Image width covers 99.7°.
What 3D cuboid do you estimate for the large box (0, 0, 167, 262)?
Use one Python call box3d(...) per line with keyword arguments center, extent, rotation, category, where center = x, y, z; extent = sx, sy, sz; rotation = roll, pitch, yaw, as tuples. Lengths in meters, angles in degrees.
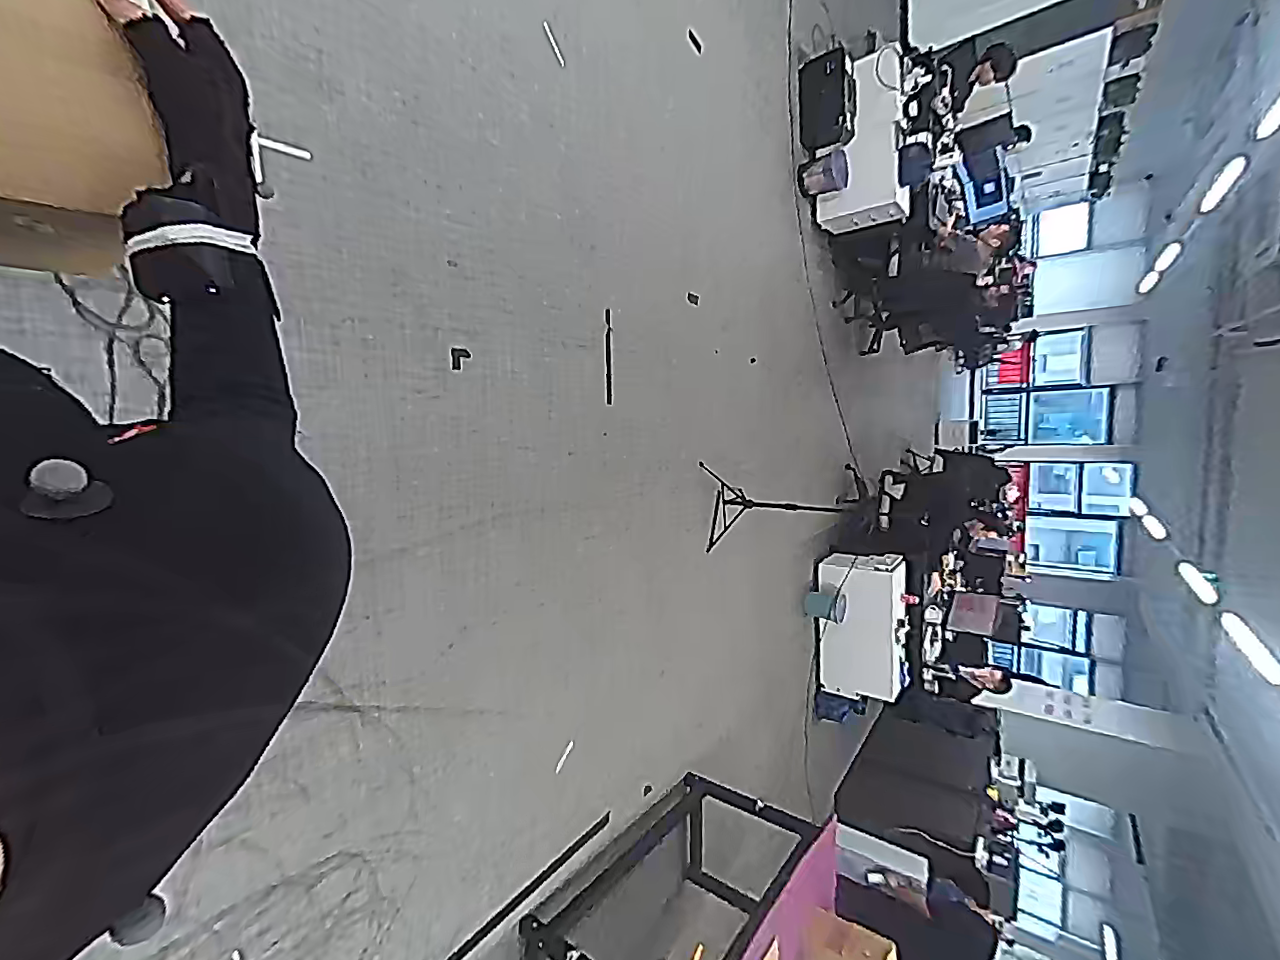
box3d(center=(-0.607, -0.345, 0.328), extent=(0.408, 0.320, 0.320), rotation=(-12, 107, -52), category="large box")
